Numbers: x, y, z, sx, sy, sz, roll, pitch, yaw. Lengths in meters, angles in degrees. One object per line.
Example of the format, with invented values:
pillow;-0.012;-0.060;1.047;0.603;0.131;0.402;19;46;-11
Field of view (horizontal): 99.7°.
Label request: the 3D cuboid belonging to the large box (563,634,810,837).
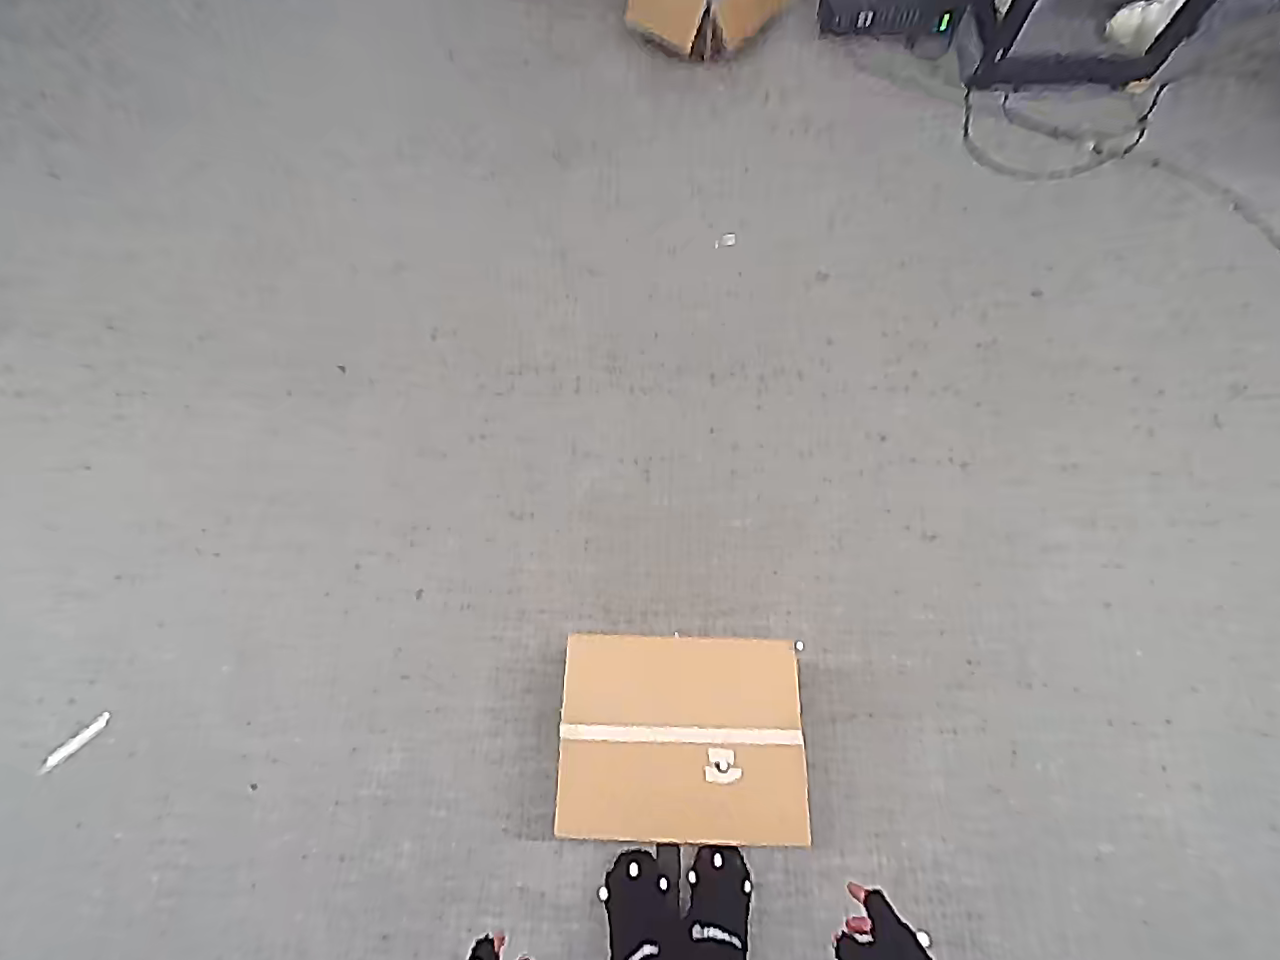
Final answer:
large box;0.074;0.478;1.051;0.408;0.320;0.320;1;69;1
